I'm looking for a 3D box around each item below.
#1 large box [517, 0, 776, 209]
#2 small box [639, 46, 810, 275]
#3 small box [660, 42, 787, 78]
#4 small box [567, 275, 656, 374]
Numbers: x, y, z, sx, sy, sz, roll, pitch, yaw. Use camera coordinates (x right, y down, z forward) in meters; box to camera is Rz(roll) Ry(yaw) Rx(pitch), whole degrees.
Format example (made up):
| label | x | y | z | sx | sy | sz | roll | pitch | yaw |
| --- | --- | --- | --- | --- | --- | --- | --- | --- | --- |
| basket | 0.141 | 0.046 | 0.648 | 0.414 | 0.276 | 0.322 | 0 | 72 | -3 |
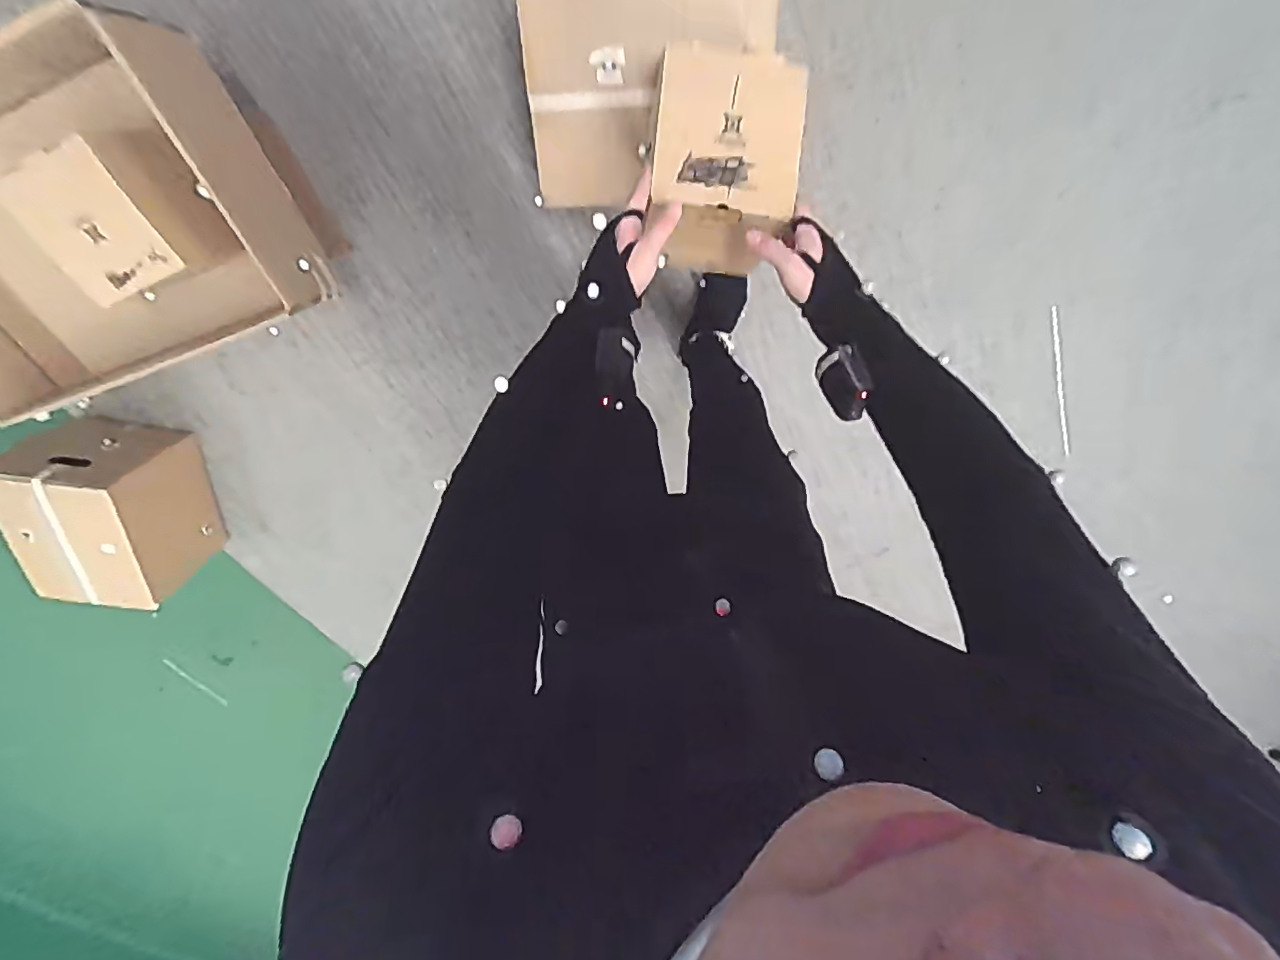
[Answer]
| label | x | y | z | sx | sy | sz | roll | pitch | yaw |
| --- | --- | --- | --- | --- | --- | --- | --- | --- | --- |
| large box | 0.019 | -0.711 | 1.018 | 0.408 | 0.320 | 0.320 | -2 | 122 | 2 |
| small box | 0.093 | -0.377 | 0.673 | 0.168 | 0.176 | 0.179 | 6 | 88 | -6 |
| small box | 0.110 | -0.547 | 0.833 | 0.168 | 0.176 | 0.179 | 4 | 125 | -2 |
| small box | -0.067 | -0.391 | 1.339 | 0.168 | 0.176 | 0.179 | 21 | 117 | -6 |
